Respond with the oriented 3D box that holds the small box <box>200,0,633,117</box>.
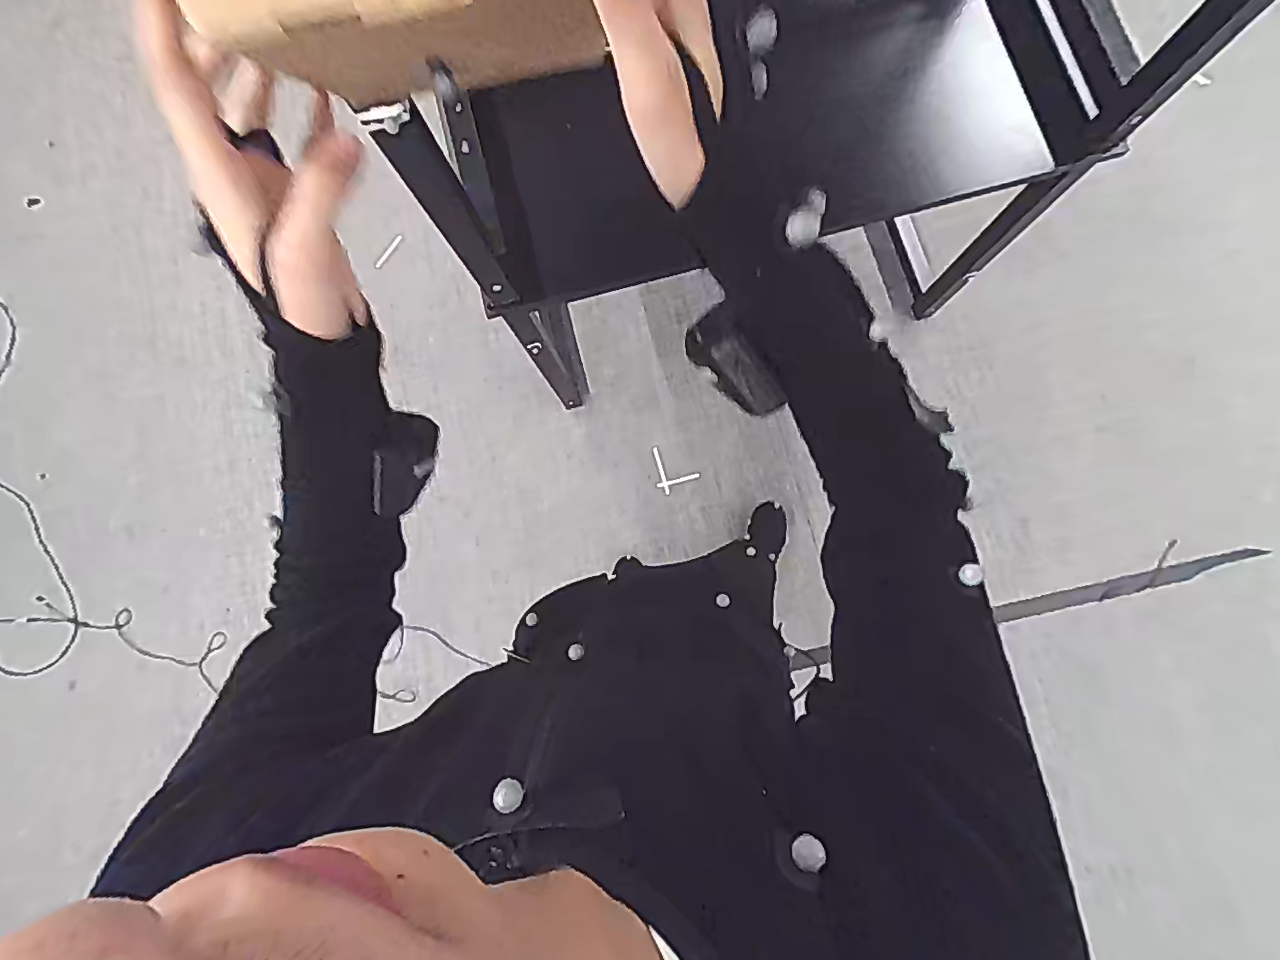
[{"bbox_3d":[-0.105,-0.288,0.242,0.168,0.176,0.179,-12,120,-1],"label":"small box"}]
